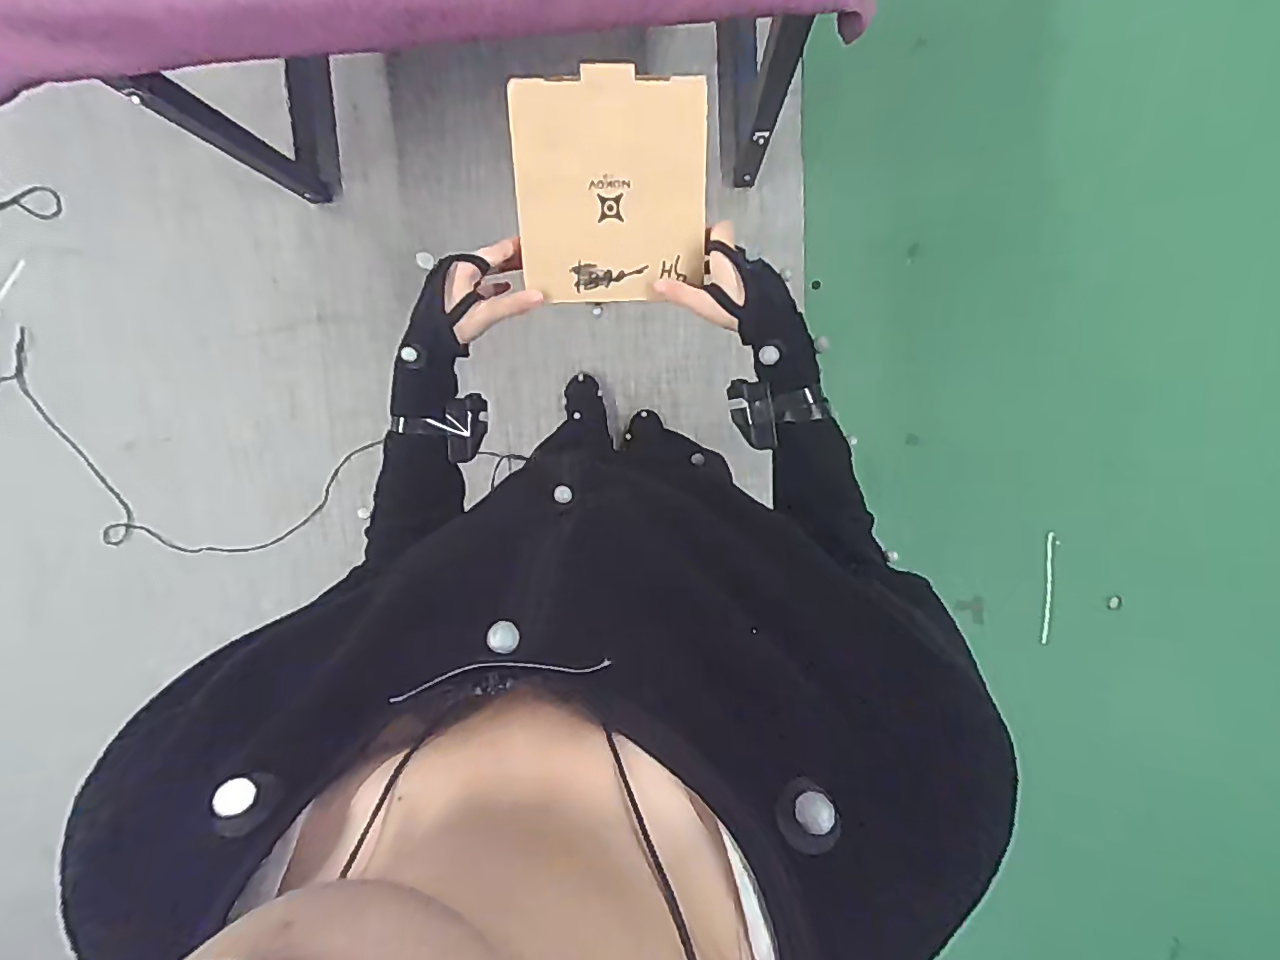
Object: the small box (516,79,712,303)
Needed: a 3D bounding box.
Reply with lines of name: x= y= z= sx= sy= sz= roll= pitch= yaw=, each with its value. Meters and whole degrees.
small box: x=-0.021 y=-0.274 z=0.549 sx=0.168 sy=0.176 sz=0.179 roll=-1 pitch=111 yaw=1
